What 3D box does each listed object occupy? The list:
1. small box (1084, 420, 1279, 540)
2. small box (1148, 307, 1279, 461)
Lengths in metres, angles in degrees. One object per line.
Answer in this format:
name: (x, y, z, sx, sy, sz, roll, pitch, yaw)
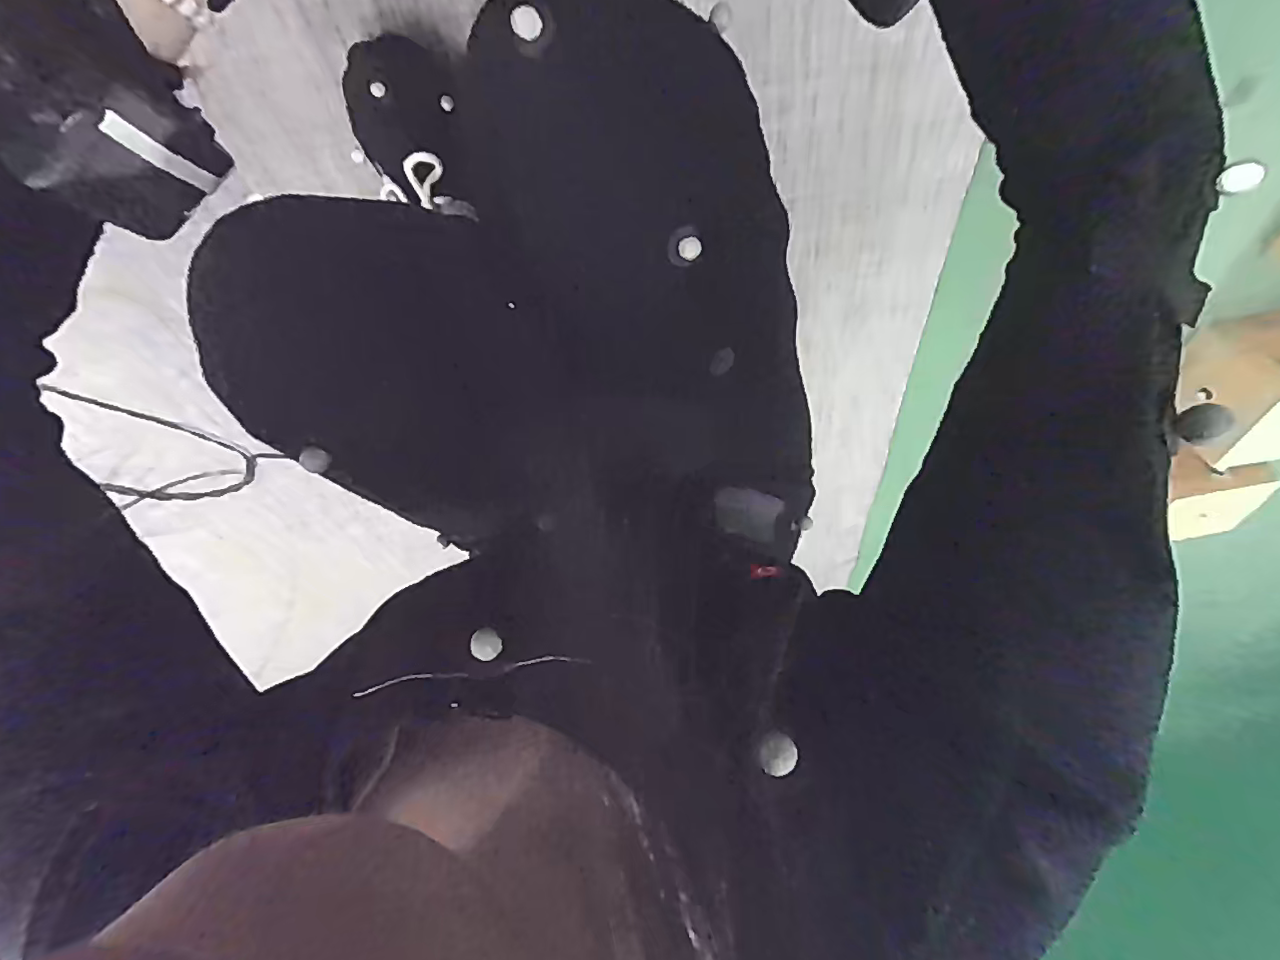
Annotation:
small box: (1.034, -0.009, 1.055, 0.179, 0.176, 0.168, -12, 141, 7)
small box: (0.987, -0.157, 0.861, 0.179, 0.176, 0.168, -10, 142, 4)
